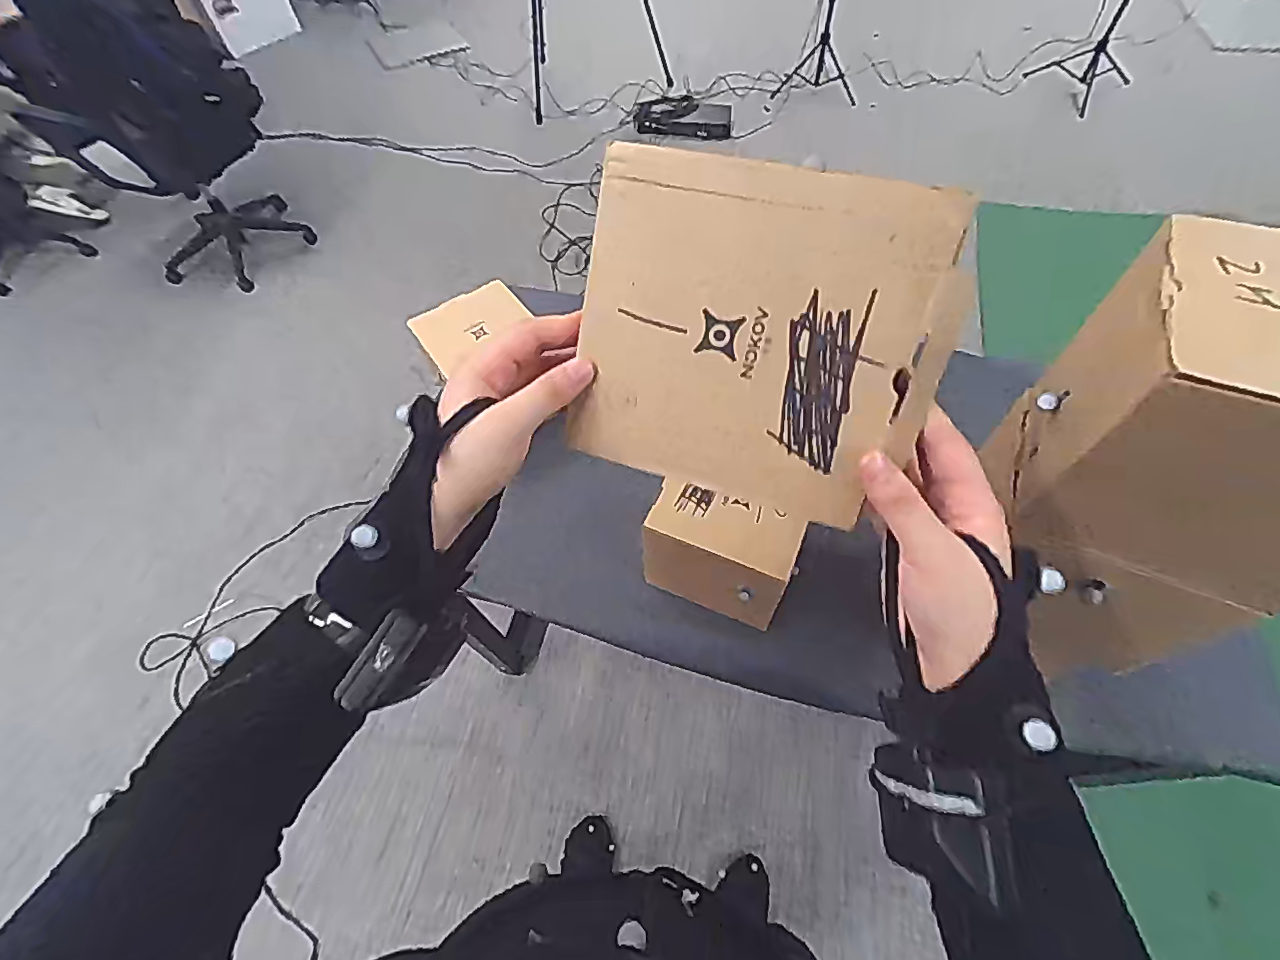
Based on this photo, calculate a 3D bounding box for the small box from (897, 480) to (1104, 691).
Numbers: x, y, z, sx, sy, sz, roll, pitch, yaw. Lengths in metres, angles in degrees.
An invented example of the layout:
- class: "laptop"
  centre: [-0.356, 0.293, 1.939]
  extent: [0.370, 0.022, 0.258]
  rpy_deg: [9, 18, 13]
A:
- class: "small box"
  centre: [0.420, 0.128, 0.647]
  extent: [0.168, 0.176, 0.179]
  rpy_deg: [11, 58, 12]

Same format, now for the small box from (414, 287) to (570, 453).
- class: "small box"
  centre: [-0.237, -0.177, 0.894]
  extent: [0.168, 0.176, 0.179]
  rpy_deg: [-33, 61, -15]

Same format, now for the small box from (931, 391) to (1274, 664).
- class: "small box"
  centre: [0.405, 0.051, 0.504]
  extent: [0.179, 0.176, 0.168]
  rpy_deg: [20, 60, 18]

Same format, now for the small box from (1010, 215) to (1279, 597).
- class: "small box"
  centre: [0.398, -0.042, 0.367]
  extent: [0.179, 0.176, 0.168]
  rpy_deg: [22, 61, 19]
